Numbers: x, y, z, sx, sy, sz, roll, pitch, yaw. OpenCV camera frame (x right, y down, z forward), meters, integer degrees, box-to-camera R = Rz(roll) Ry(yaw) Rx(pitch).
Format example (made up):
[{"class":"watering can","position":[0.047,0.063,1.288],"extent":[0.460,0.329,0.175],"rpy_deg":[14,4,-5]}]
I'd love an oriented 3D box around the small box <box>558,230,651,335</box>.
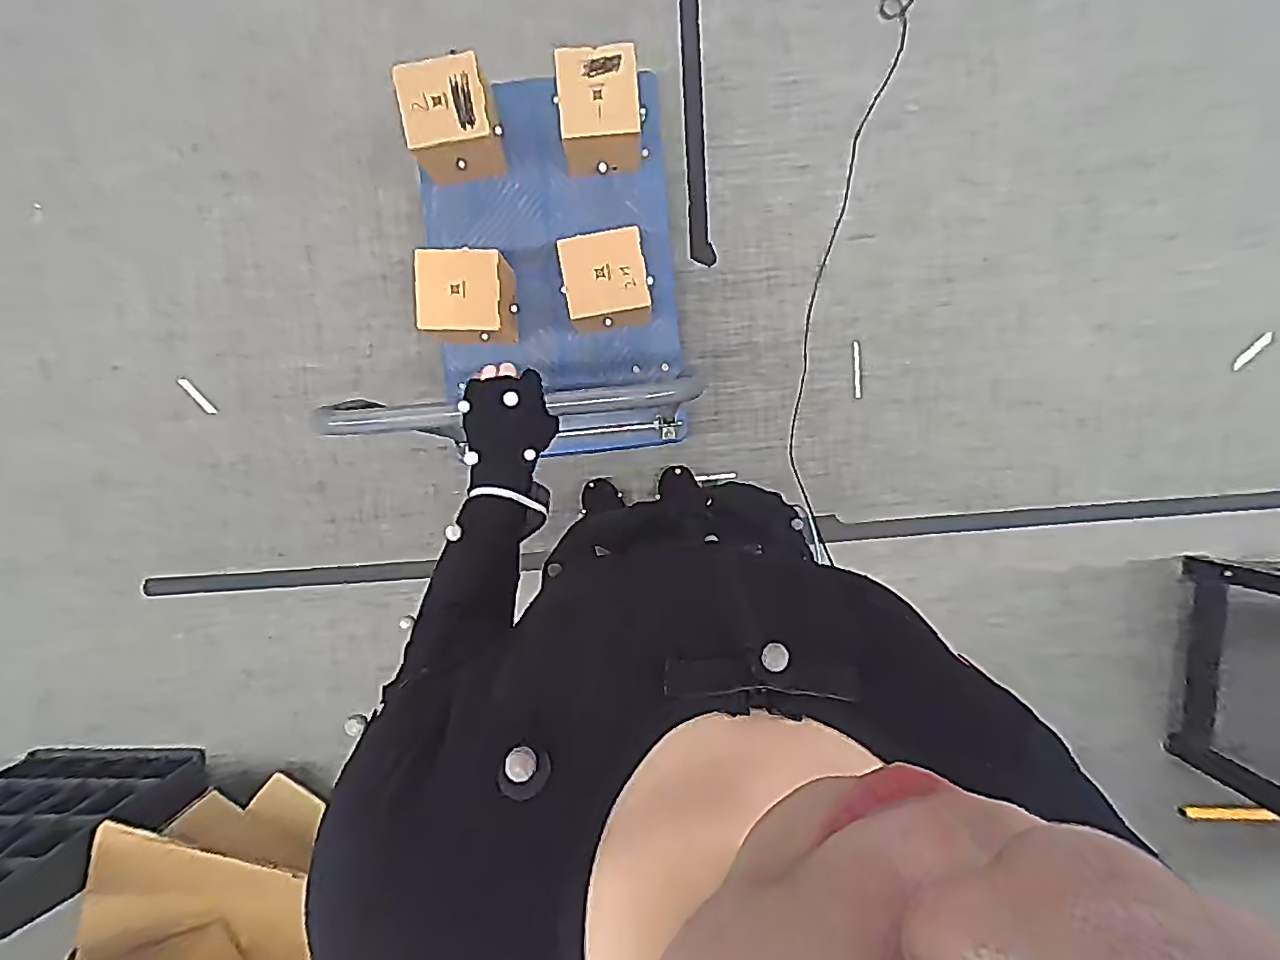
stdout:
[{"class":"small box","position":[-0.073,-0.430,1.205],"extent":[0.179,0.176,0.168],"rpy_deg":[-10,95,1]}]

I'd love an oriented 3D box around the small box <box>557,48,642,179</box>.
[{"class":"small box","position":[-0.084,-0.790,1.178],"extent":[0.168,0.176,0.179],"rpy_deg":[-4,95,1]}]

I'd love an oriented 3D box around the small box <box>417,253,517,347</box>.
[{"class":"small box","position":[-0.380,-0.395,1.209],"extent":[0.179,0.176,0.168],"rpy_deg":[-1,93,-2]}]
